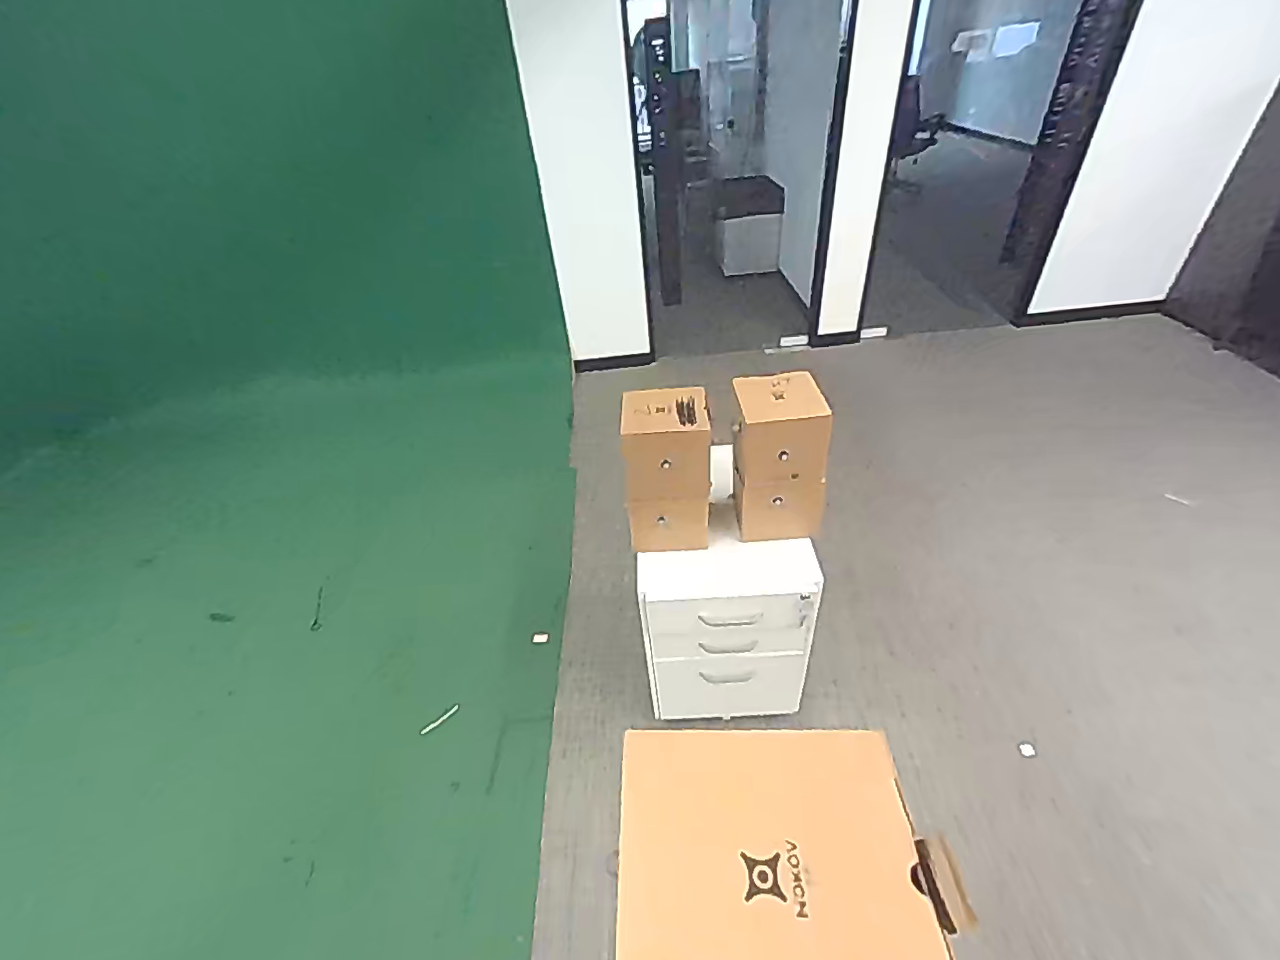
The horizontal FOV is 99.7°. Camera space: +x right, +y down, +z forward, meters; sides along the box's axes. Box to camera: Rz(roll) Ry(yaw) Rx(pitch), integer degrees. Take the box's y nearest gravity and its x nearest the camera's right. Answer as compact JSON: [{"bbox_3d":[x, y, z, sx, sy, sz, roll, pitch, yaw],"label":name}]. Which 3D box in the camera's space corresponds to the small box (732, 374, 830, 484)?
[{"bbox_3d":[0.291,-0.103,1.147,0.168,0.176,0.179,-5,39,2],"label":"small box"}]

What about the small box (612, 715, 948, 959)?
[{"bbox_3d":[0.078,0.279,0.369,0.179,0.176,0.168,-1,42,2],"label":"small box"}]

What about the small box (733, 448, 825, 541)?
[{"bbox_3d":[0.312,0.026,1.248,0.179,0.176,0.168,-4,39,3],"label":"small box"}]

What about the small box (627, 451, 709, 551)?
[{"bbox_3d":[0.066,0.050,1.250,0.179,0.176,0.168,-3,40,3],"label":"small box"}]
